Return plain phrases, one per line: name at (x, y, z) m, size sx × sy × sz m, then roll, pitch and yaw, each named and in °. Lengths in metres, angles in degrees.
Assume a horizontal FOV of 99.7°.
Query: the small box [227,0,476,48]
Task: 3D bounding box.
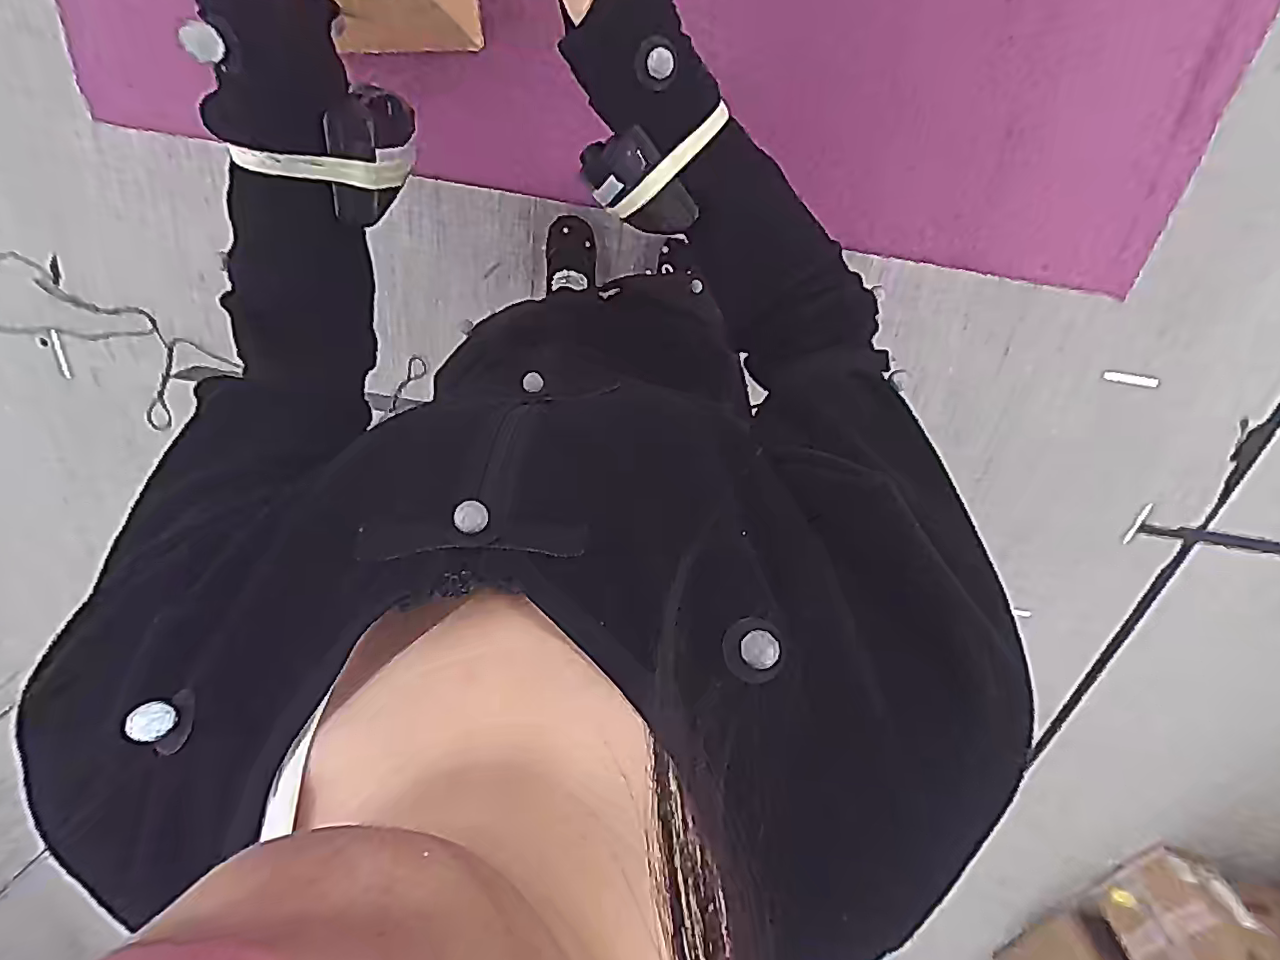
small box at (-0.248, -0.486, 0.452) m, size 0.179 × 0.176 × 0.168 m, roll 0°, pitch 117°, yaw 1°
